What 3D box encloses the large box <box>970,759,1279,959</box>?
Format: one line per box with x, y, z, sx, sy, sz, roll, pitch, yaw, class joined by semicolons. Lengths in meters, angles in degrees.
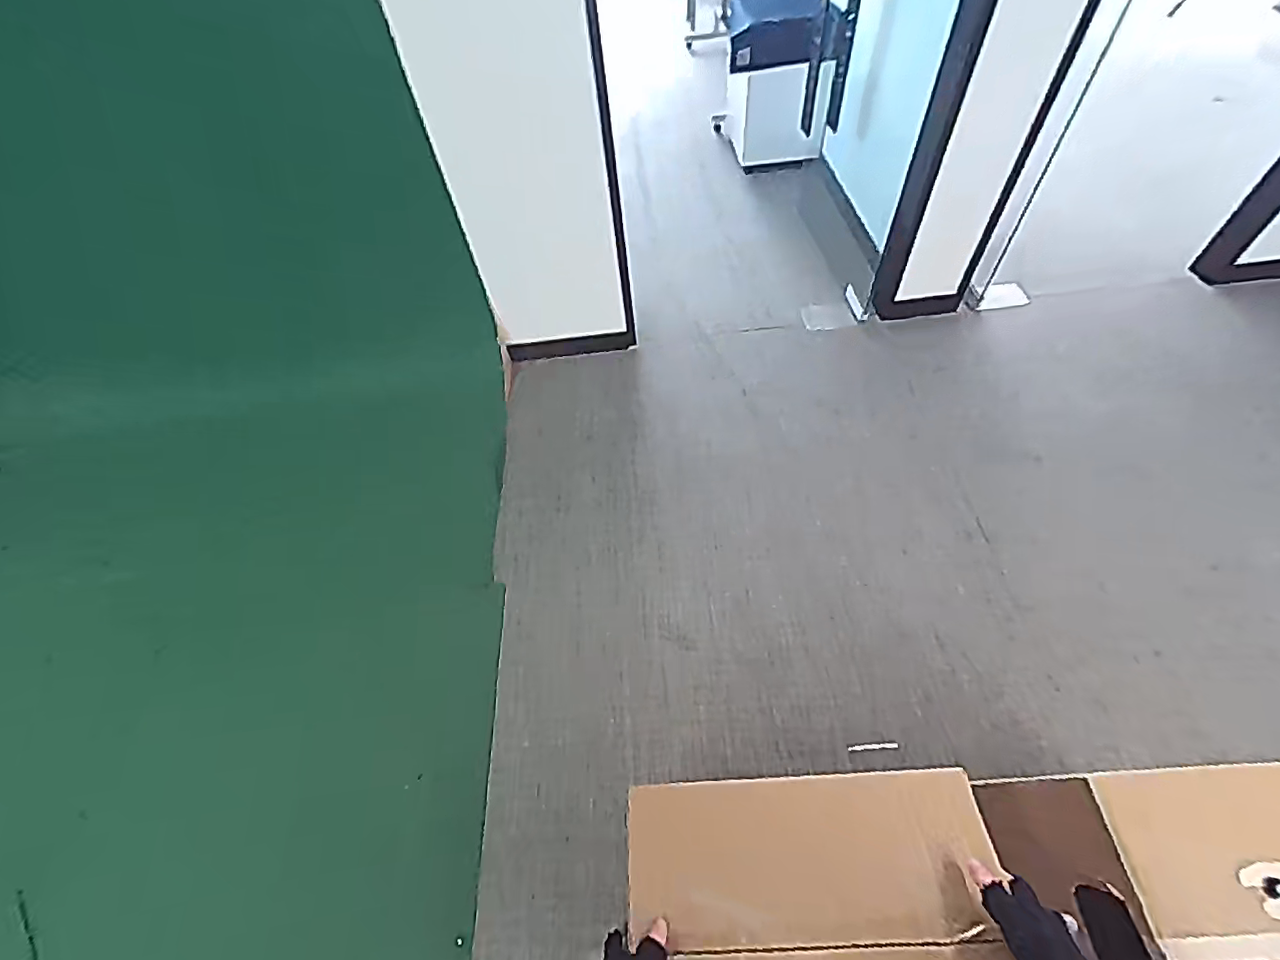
0.717;0.527;0.657;0.408;0.320;0.320;-5;58;4;large box
